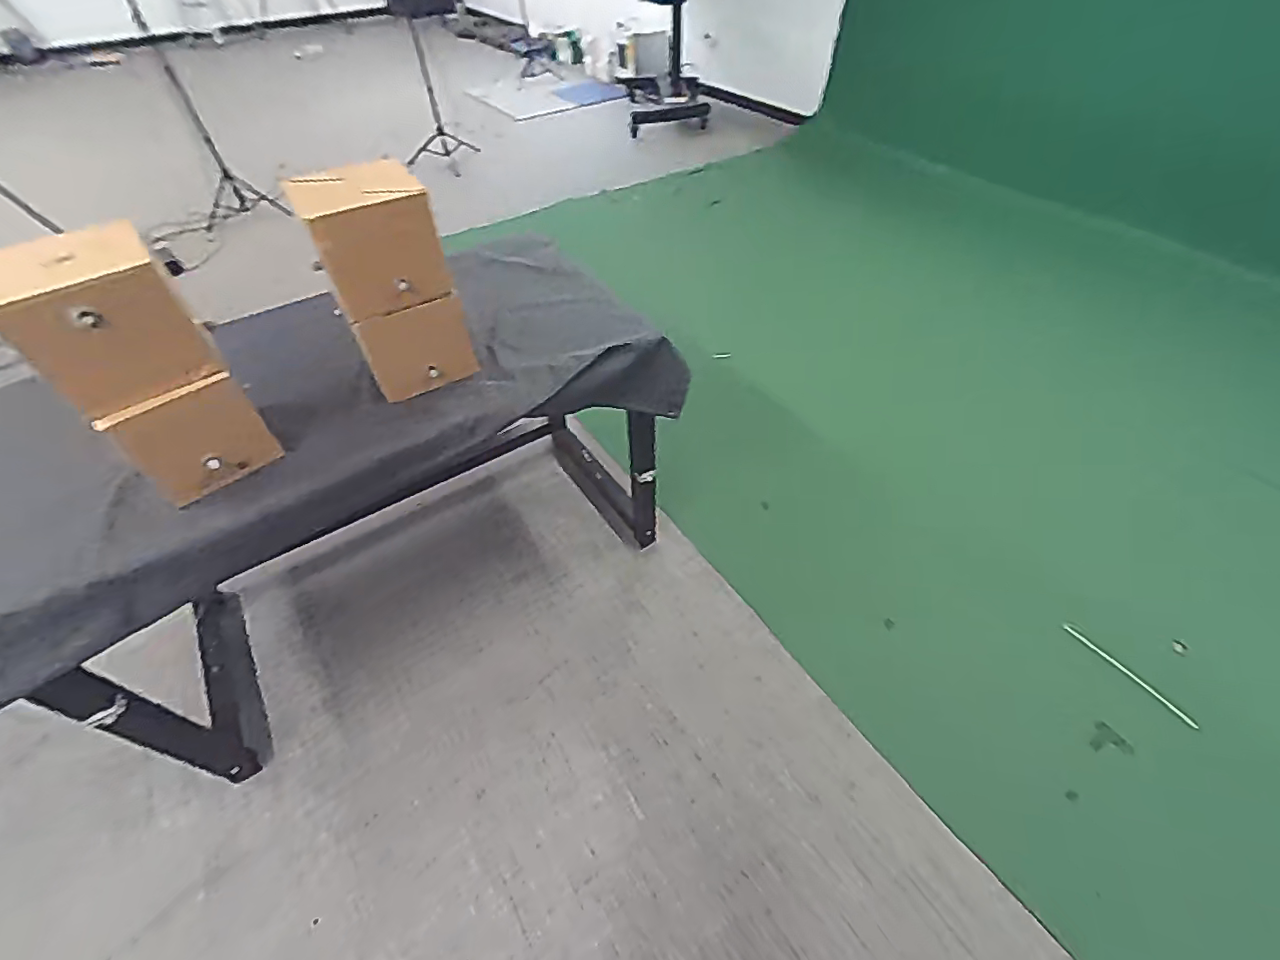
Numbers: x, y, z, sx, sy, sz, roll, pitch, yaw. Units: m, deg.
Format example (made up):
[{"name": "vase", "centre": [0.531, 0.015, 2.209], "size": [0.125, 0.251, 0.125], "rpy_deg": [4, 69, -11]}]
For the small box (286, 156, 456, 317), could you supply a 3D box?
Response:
[{"name": "small box", "centre": [-0.425, -0.394, 0.862], "size": [0.179, 0.176, 0.168], "rpy_deg": [-27, 53, -20]}]

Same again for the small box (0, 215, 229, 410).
[{"name": "small box", "centre": [-0.710, -0.224, 0.728], "size": [0.179, 0.176, 0.168], "rpy_deg": [-32, 57, -25]}]

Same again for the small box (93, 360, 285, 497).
[{"name": "small box", "centre": [-0.701, -0.106, 0.841], "size": [0.168, 0.176, 0.179], "rpy_deg": [-37, 58, -26]}]

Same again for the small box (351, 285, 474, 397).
[{"name": "small box", "centre": [-0.419, -0.283, 0.988], "size": [0.179, 0.176, 0.168], "rpy_deg": [-27, 53, -21]}]
